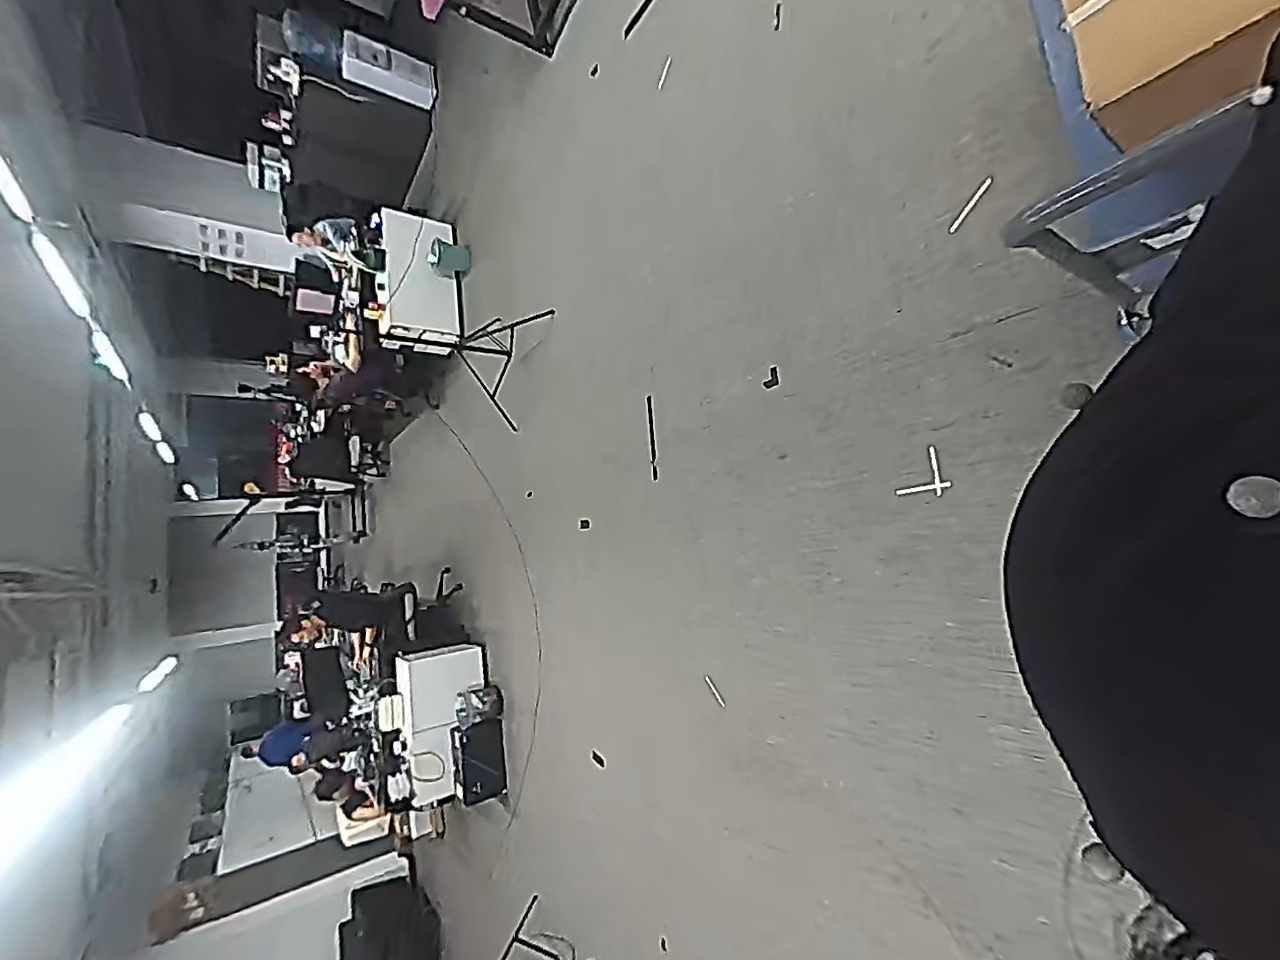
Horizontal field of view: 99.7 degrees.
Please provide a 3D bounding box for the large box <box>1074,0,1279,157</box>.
[{"bbox_3d":[0.928,-0.769,0.777,0.408,0.320,0.320,-16,78,55],"label":"large box"}]
